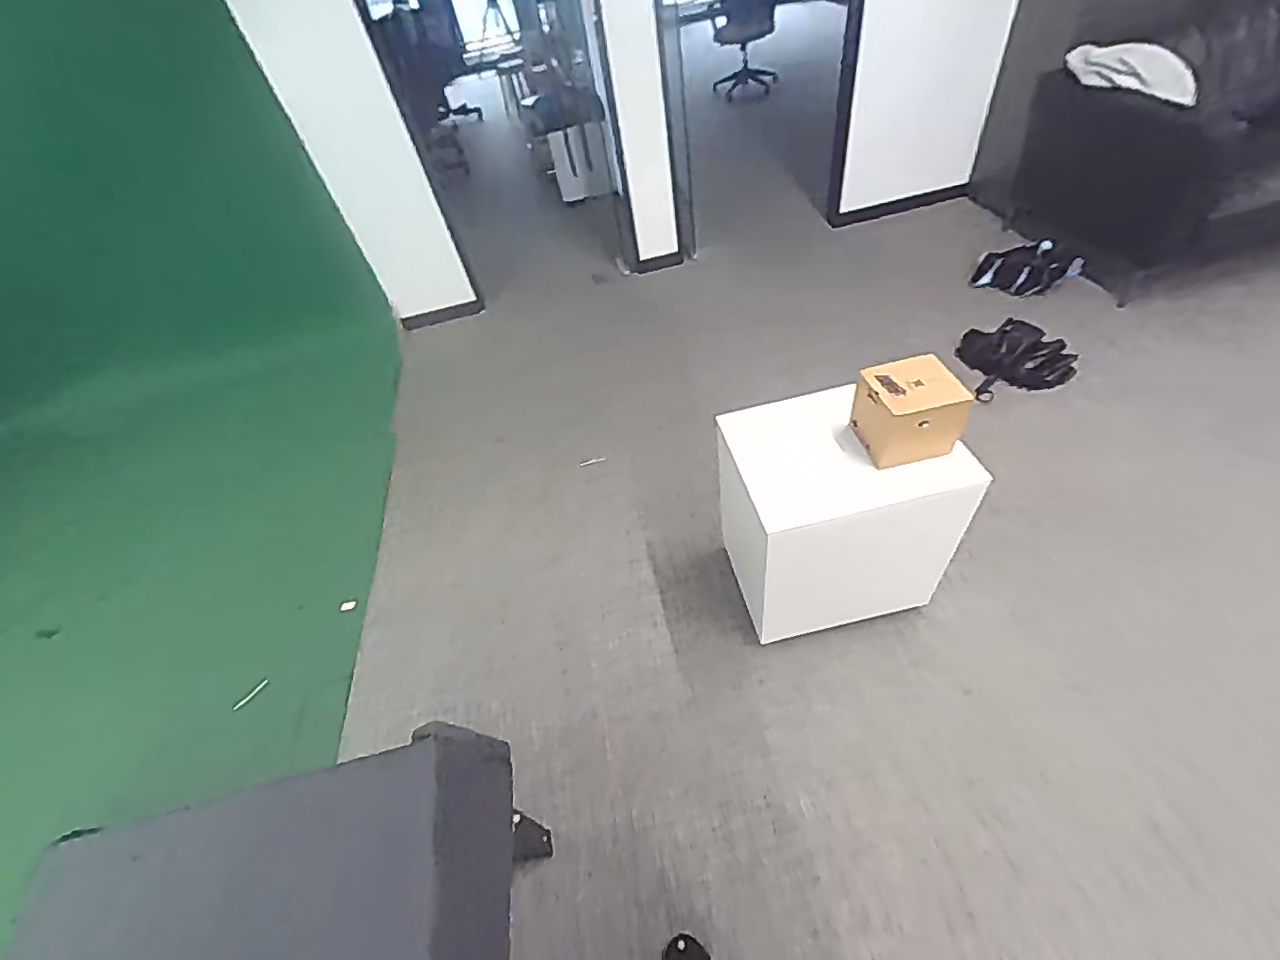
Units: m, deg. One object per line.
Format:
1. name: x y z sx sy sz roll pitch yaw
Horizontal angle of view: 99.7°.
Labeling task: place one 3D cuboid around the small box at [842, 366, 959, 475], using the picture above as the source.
1. small box: 0.581 -0.132 1.237 0.179 0.176 0.168 -12 47 -4
